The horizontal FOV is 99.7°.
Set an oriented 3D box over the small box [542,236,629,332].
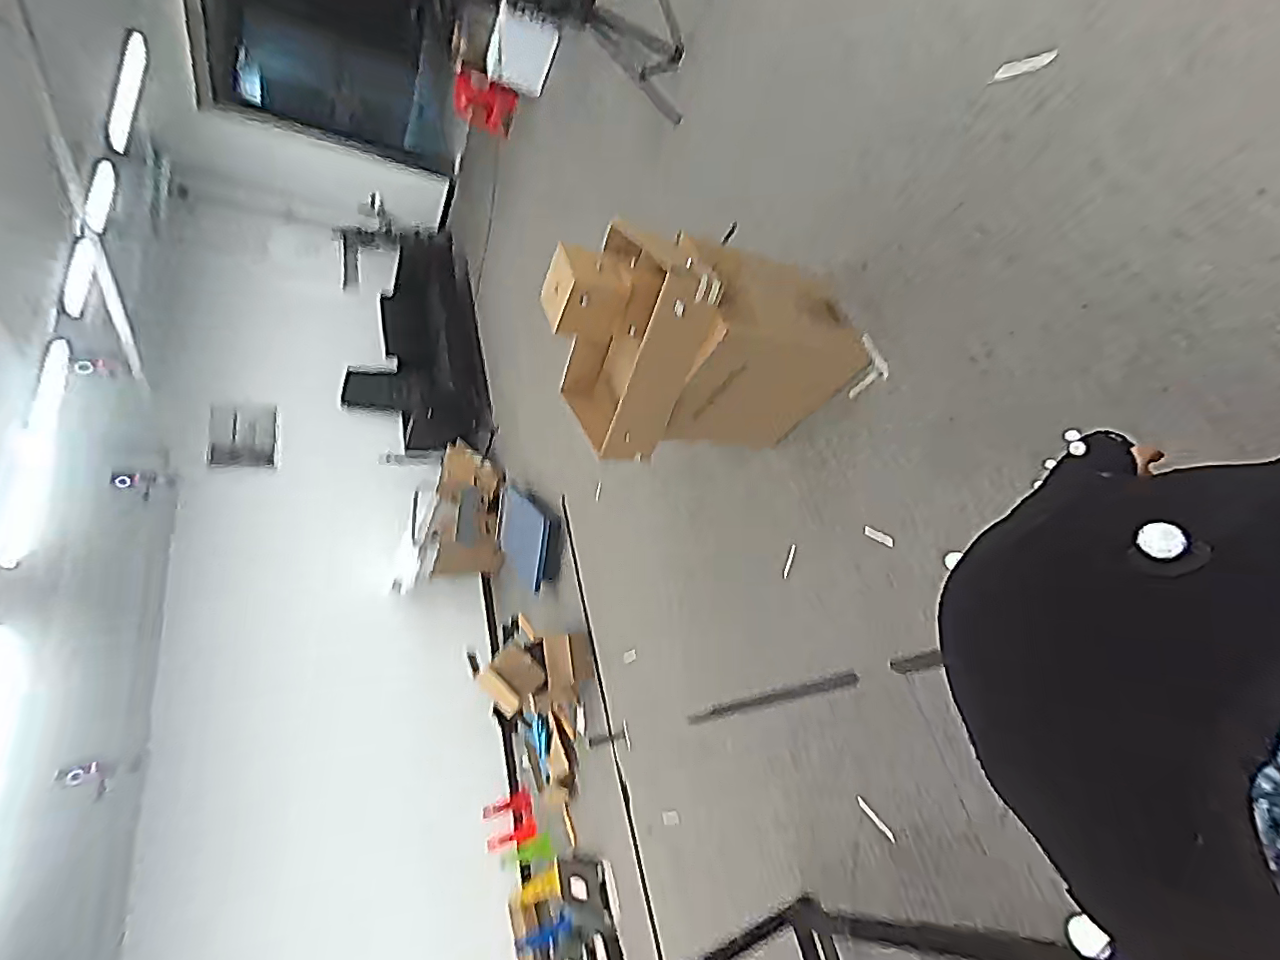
[{"bbox_3d":[-0.147,-0.528,1.473,0.179,0.176,0.168,-55,46,44],"label":"small box"}]
